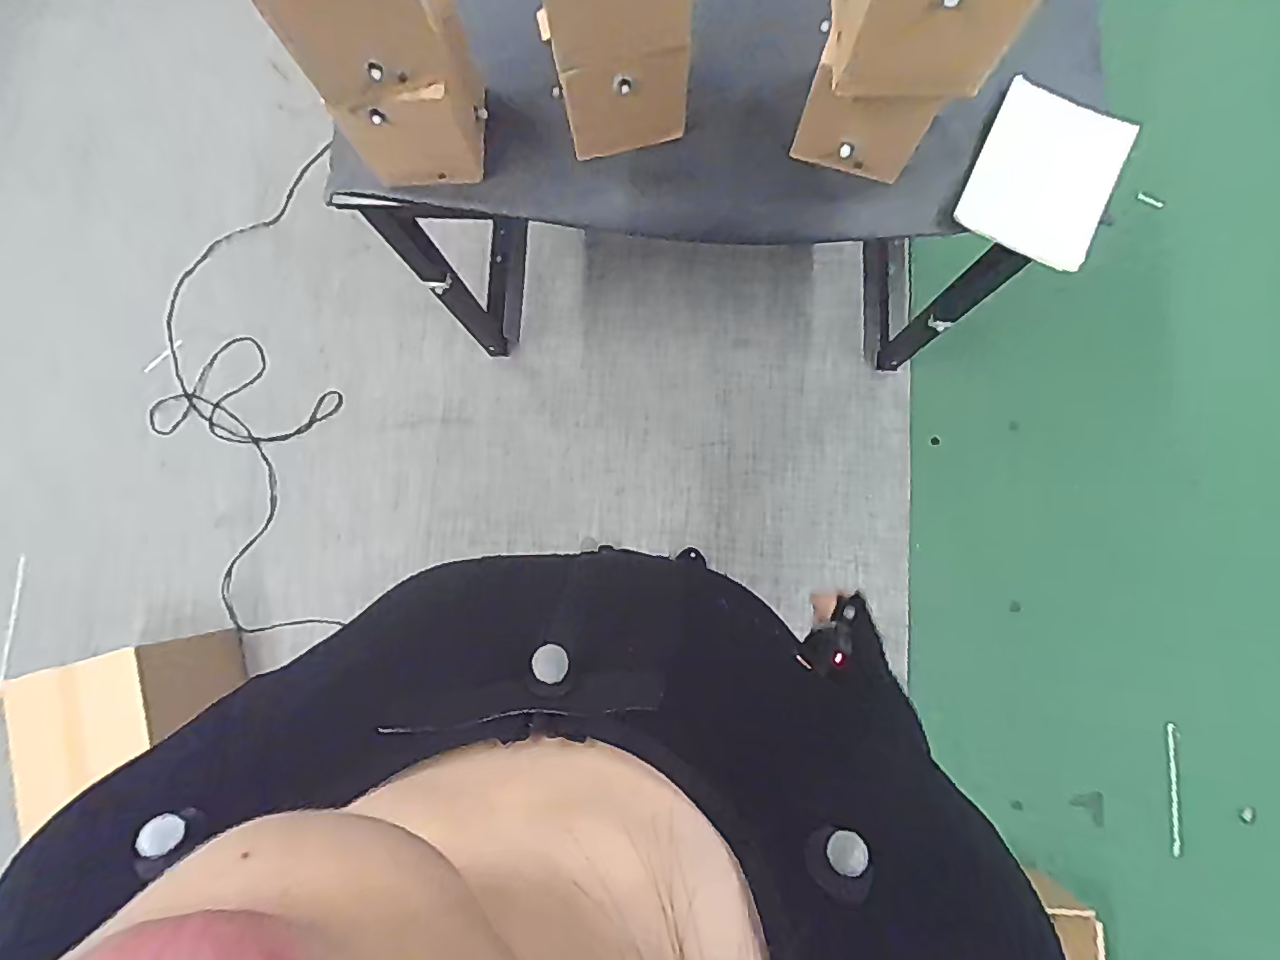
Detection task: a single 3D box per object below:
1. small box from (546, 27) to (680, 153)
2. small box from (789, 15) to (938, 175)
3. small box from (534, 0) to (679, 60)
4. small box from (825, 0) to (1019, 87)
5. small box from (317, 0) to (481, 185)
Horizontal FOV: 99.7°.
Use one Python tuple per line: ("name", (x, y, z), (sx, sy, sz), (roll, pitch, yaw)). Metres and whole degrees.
("small box", (-0.044, -0.622, 0.794), (0.179, 0.176, 0.168), (-14, 83, 0))
("small box", (0.326, -0.583, 0.769), (0.168, 0.176, 0.179), (18, 84, 6))
("small box", (-0.051, -0.640, 0.631), (0.179, 0.176, 0.168), (-11, 83, 1))
("small box", (0.319, -0.580, 0.605), (0.179, 0.176, 0.168), (1, 82, 4))
("small box", (-0.343, -0.572, 0.799), (0.168, 0.176, 0.179), (-2, 82, 2))
